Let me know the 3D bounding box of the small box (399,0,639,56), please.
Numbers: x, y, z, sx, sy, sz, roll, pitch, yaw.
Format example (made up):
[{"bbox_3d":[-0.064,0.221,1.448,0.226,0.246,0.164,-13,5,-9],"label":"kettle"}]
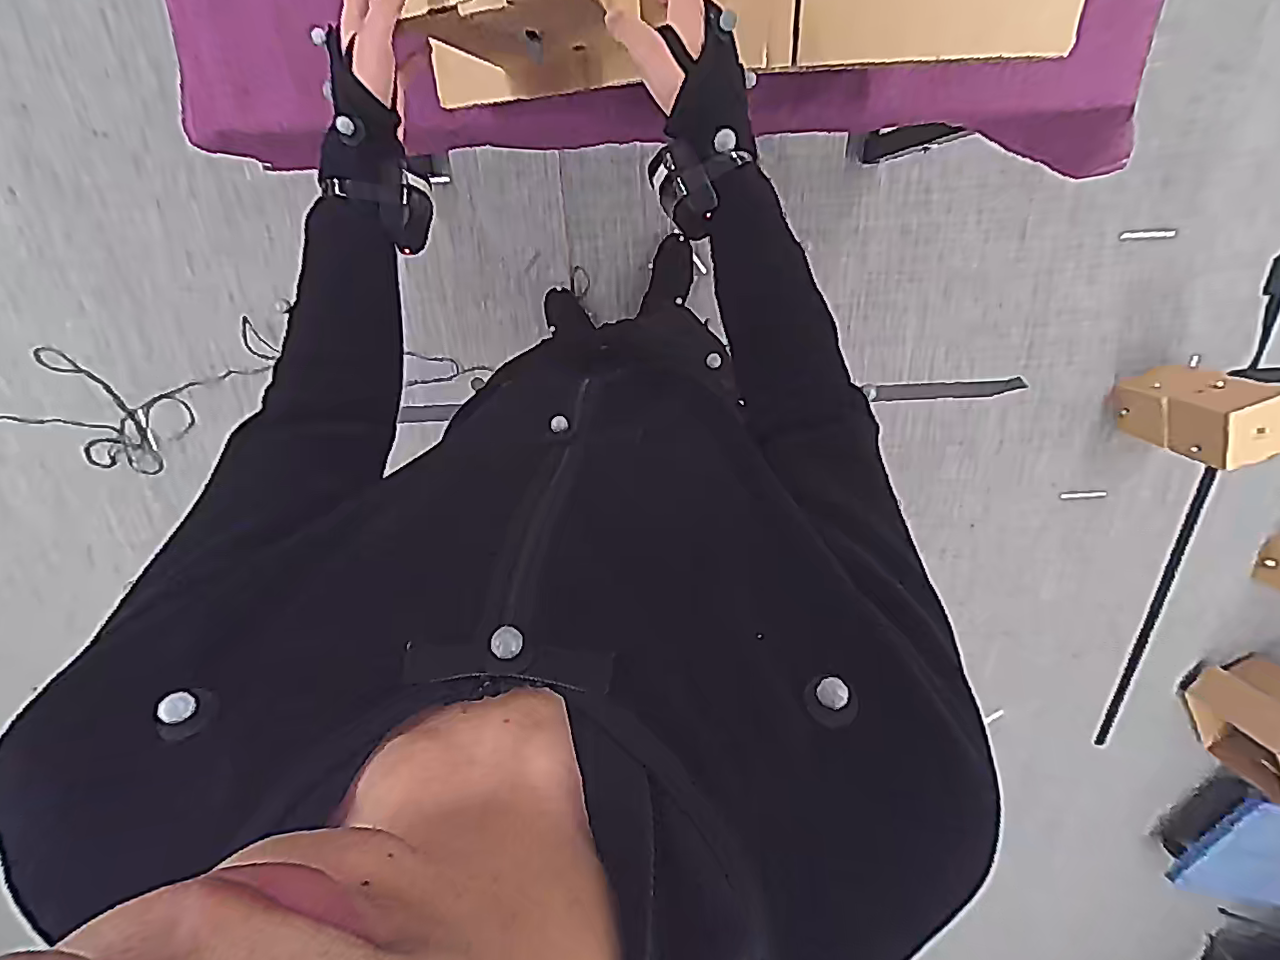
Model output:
[{"bbox_3d":[-0.104,-0.493,0.465,0.168,0.176,0.179,4,117,18],"label":"small box"}]
